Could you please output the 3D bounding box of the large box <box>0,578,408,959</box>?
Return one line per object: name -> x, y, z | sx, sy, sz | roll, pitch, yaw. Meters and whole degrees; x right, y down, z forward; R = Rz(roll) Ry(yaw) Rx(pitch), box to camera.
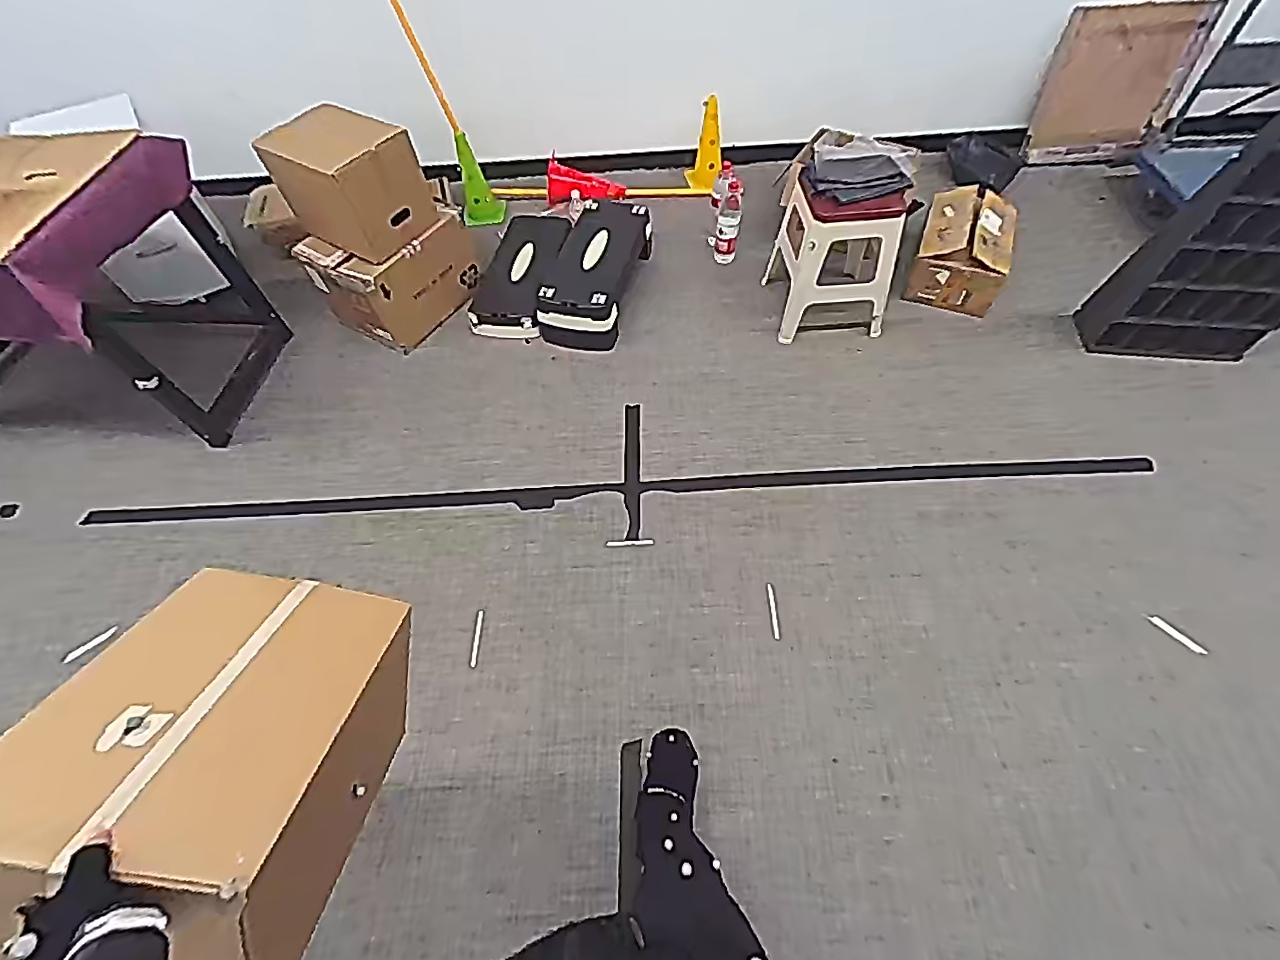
large box -> -0.553, 0.401, 0.751 | 0.320, 0.320, 0.408 | 11, 27, -5
